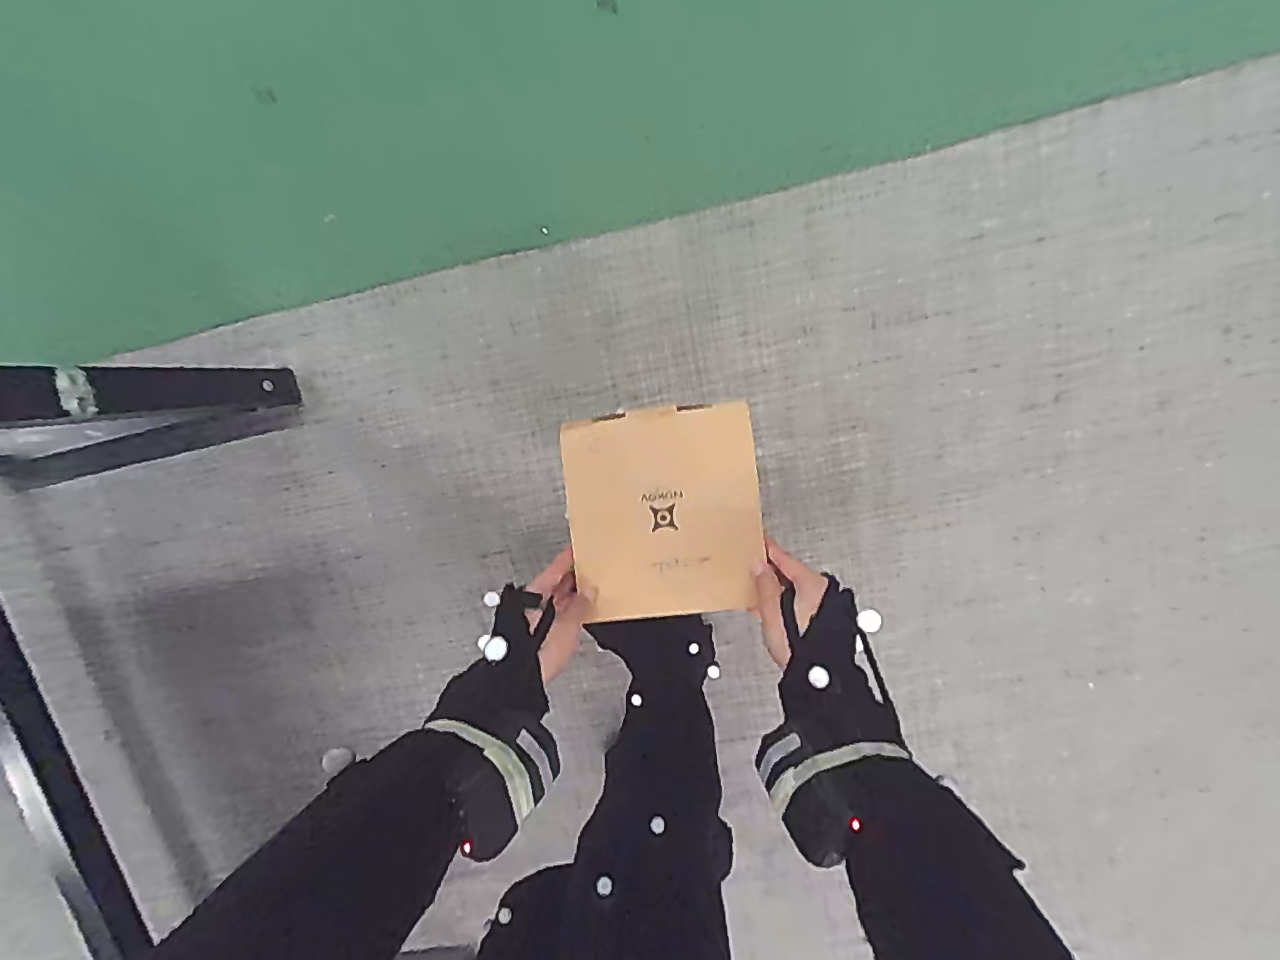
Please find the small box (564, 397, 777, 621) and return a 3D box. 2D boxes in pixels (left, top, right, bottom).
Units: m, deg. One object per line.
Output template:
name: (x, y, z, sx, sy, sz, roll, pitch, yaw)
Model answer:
small box: (0.033, 0.025, 0.535, 0.168, 0.176, 0.179, -8, 91, 8)
